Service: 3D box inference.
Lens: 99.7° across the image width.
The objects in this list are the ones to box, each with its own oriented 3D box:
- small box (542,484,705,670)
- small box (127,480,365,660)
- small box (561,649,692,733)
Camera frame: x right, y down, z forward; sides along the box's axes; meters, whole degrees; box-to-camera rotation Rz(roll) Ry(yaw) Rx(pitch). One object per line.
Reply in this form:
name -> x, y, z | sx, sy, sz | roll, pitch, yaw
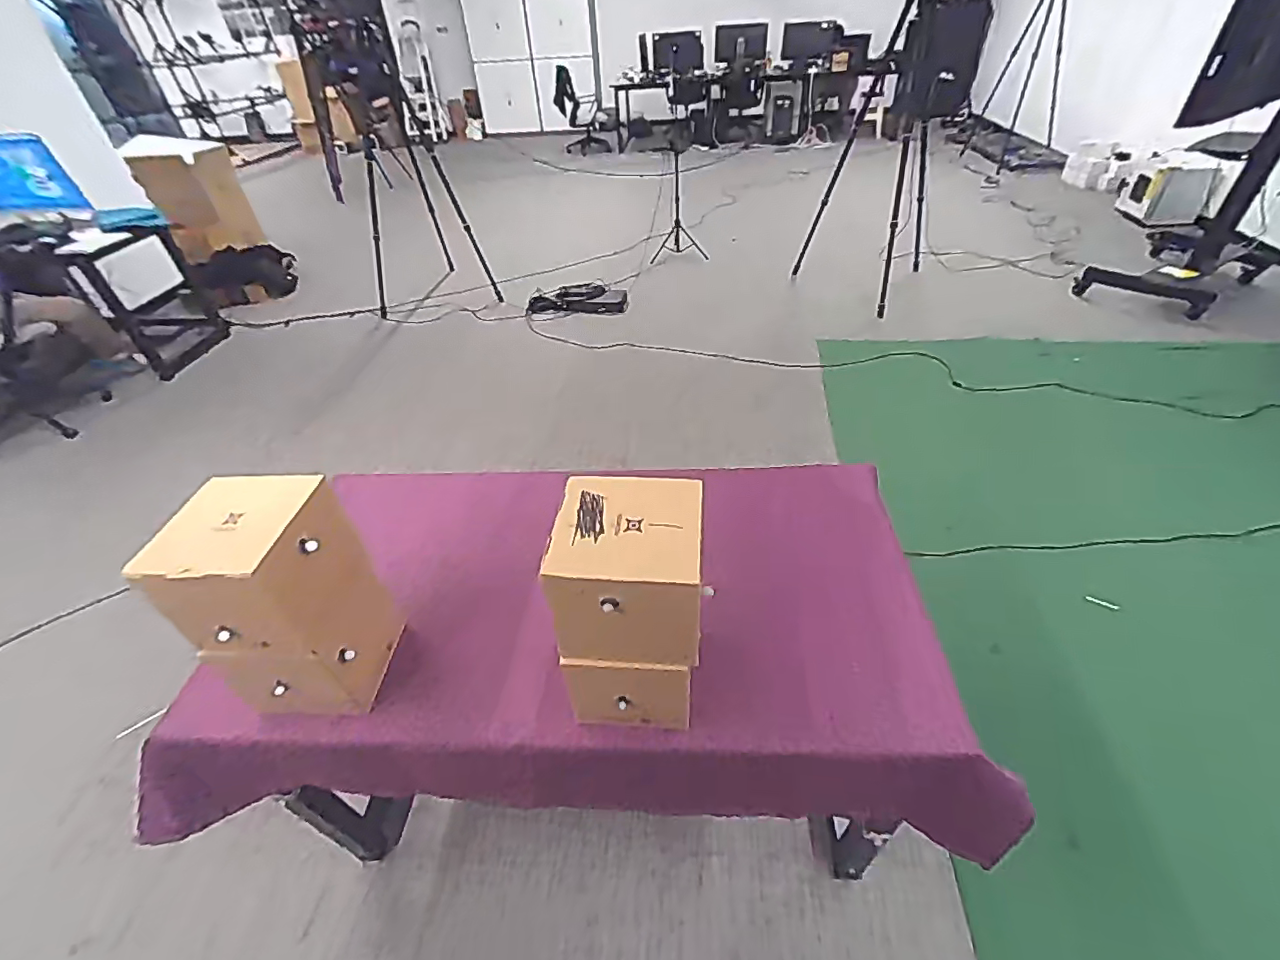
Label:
small box -> -0.008, 0.122, 0.686 | 0.179, 0.176, 0.168 | 2, 42, 6
small box -> -0.504, 0.119, 0.731 | 0.168, 0.176, 0.179 | -1, 42, 4
small box -> -0.008, 0.248, 0.792 | 0.168, 0.176, 0.179 | 2, 41, 6
